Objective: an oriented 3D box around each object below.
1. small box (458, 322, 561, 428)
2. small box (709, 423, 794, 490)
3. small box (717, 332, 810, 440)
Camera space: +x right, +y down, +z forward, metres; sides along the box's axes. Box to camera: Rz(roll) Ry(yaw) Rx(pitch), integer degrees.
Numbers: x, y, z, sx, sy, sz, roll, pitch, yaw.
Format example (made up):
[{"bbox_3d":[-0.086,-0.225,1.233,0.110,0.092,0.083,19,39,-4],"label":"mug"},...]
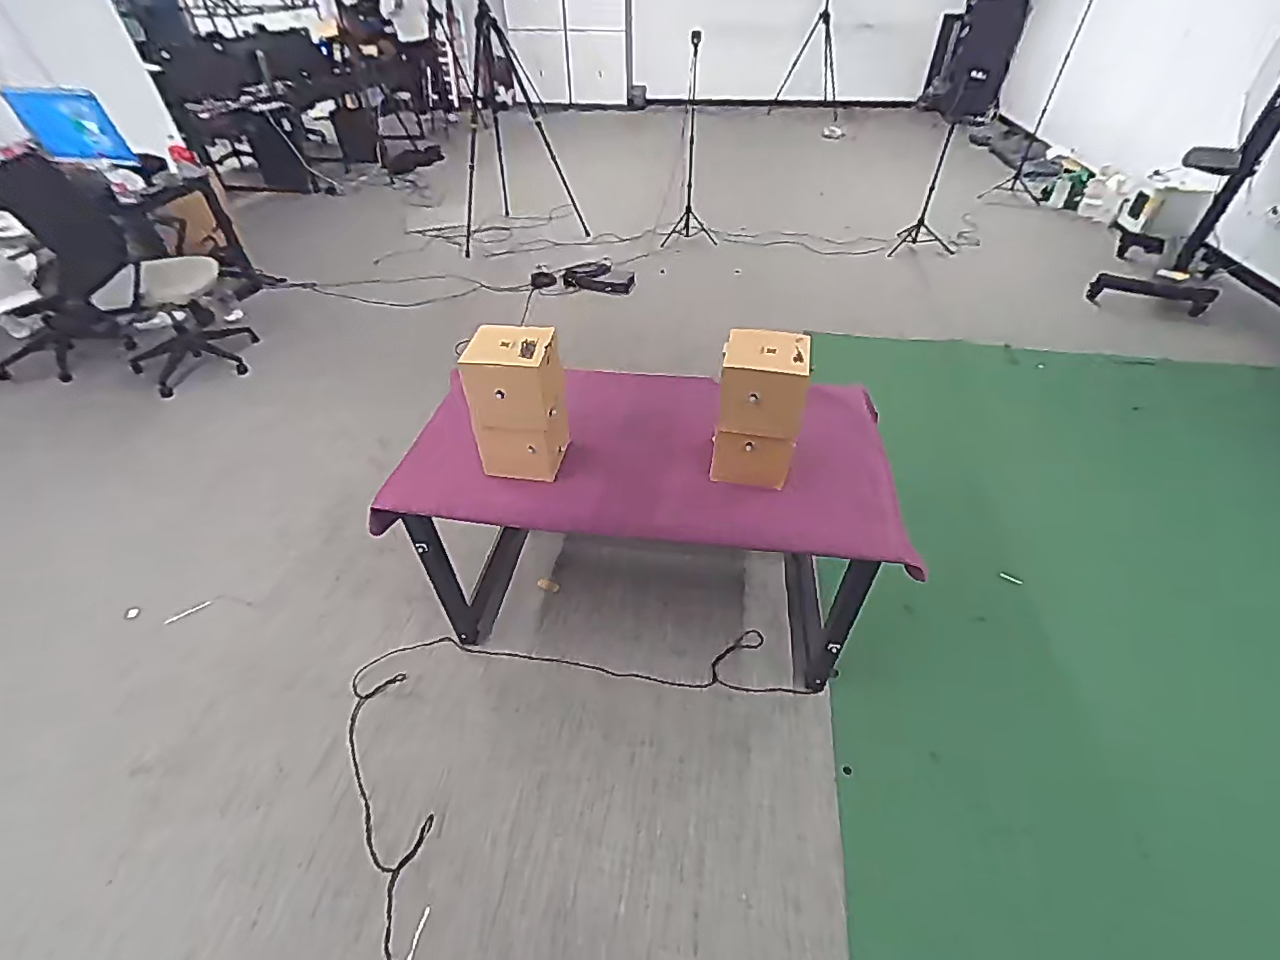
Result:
[{"bbox_3d":[-0.279,-0.233,1.207,0.179,0.176,0.168,4,44,4],"label":"small box"},{"bbox_3d":[0.271,-0.094,1.310,0.179,0.176,0.168,9,45,10],"label":"small box"},{"bbox_3d":[0.268,-0.205,1.188,0.179,0.176,0.168,9,45,11],"label":"small box"}]
